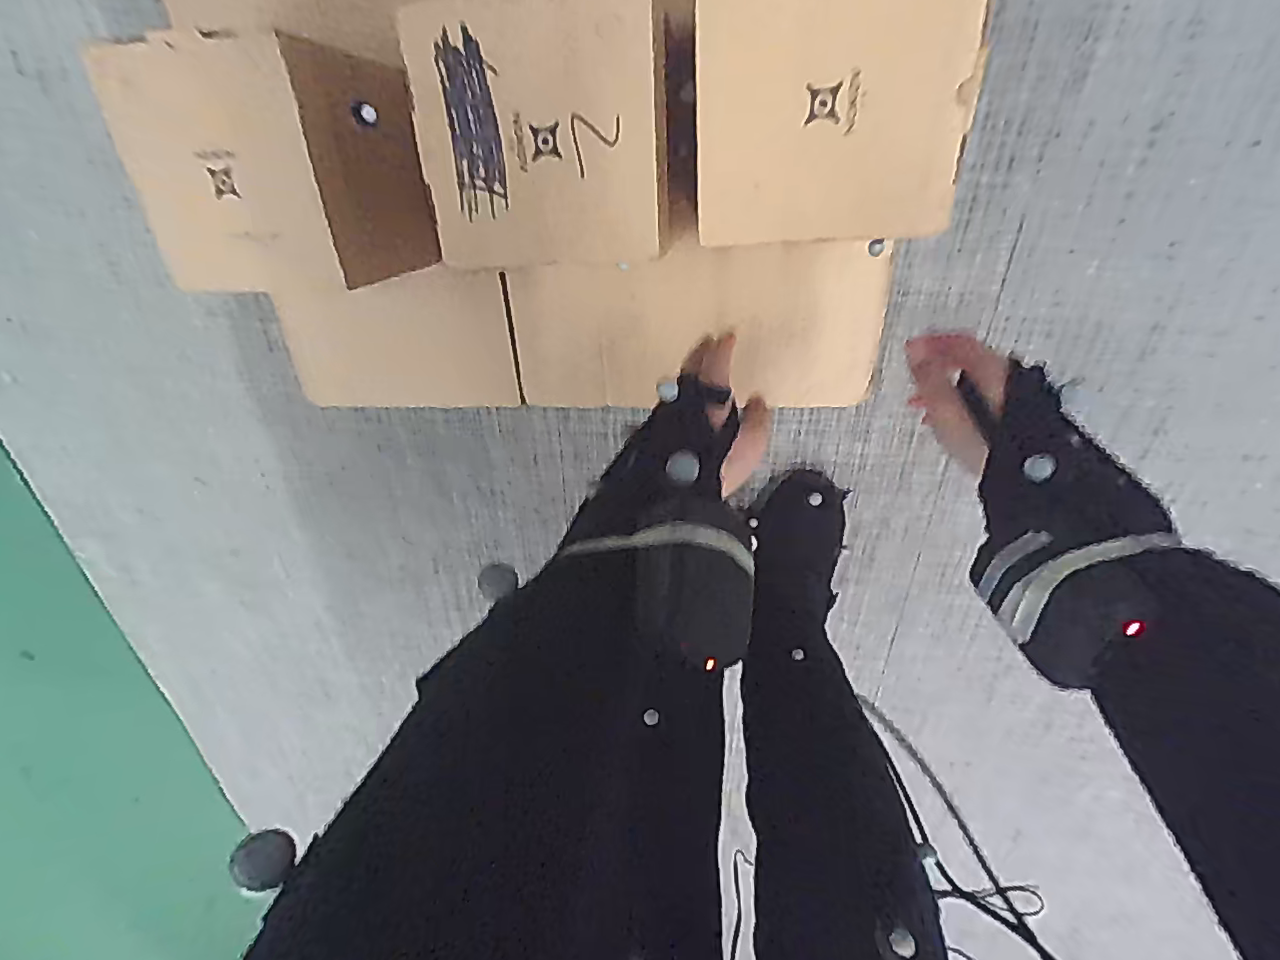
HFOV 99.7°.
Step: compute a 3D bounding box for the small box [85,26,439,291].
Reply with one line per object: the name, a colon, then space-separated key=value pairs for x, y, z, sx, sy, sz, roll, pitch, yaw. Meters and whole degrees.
small box: x=-0.309 y=-0.276 z=0.490 sx=0.168 sy=0.176 sz=0.179 roll=2 pitch=120 yaw=9
